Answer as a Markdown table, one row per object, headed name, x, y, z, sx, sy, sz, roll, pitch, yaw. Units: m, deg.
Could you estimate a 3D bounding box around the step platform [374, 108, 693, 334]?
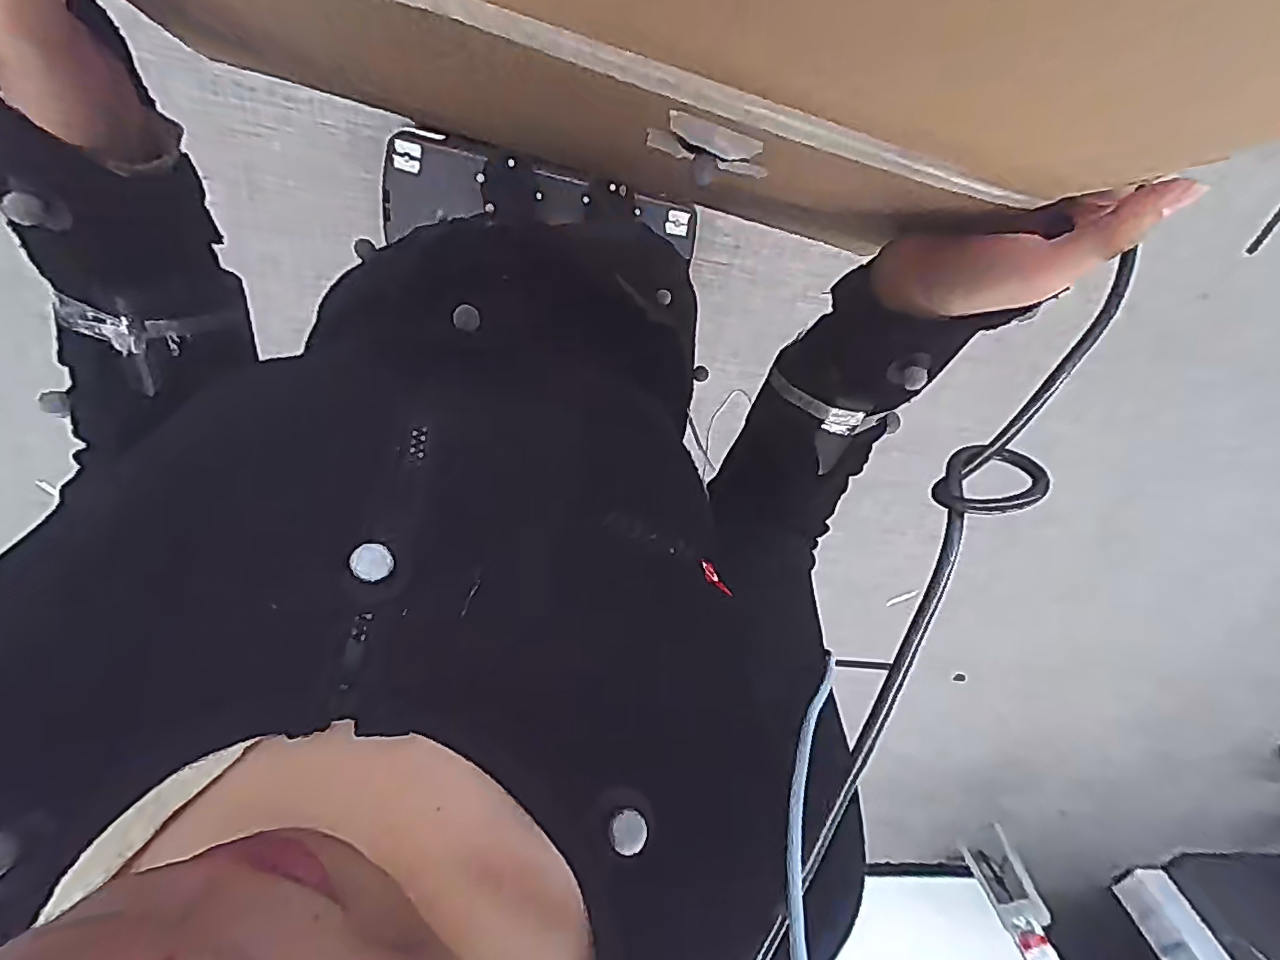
| name | x | y | z | sx | sy | sz | roll | pitch | yaw |
| --- | --- | --- | --- | --- | --- | --- | --- | --- | --- |
| step platform | -0.227 | -0.569 | 1.230 | 0.684 | 0.204 | 0.286 | 14 | 121 | -12 |
